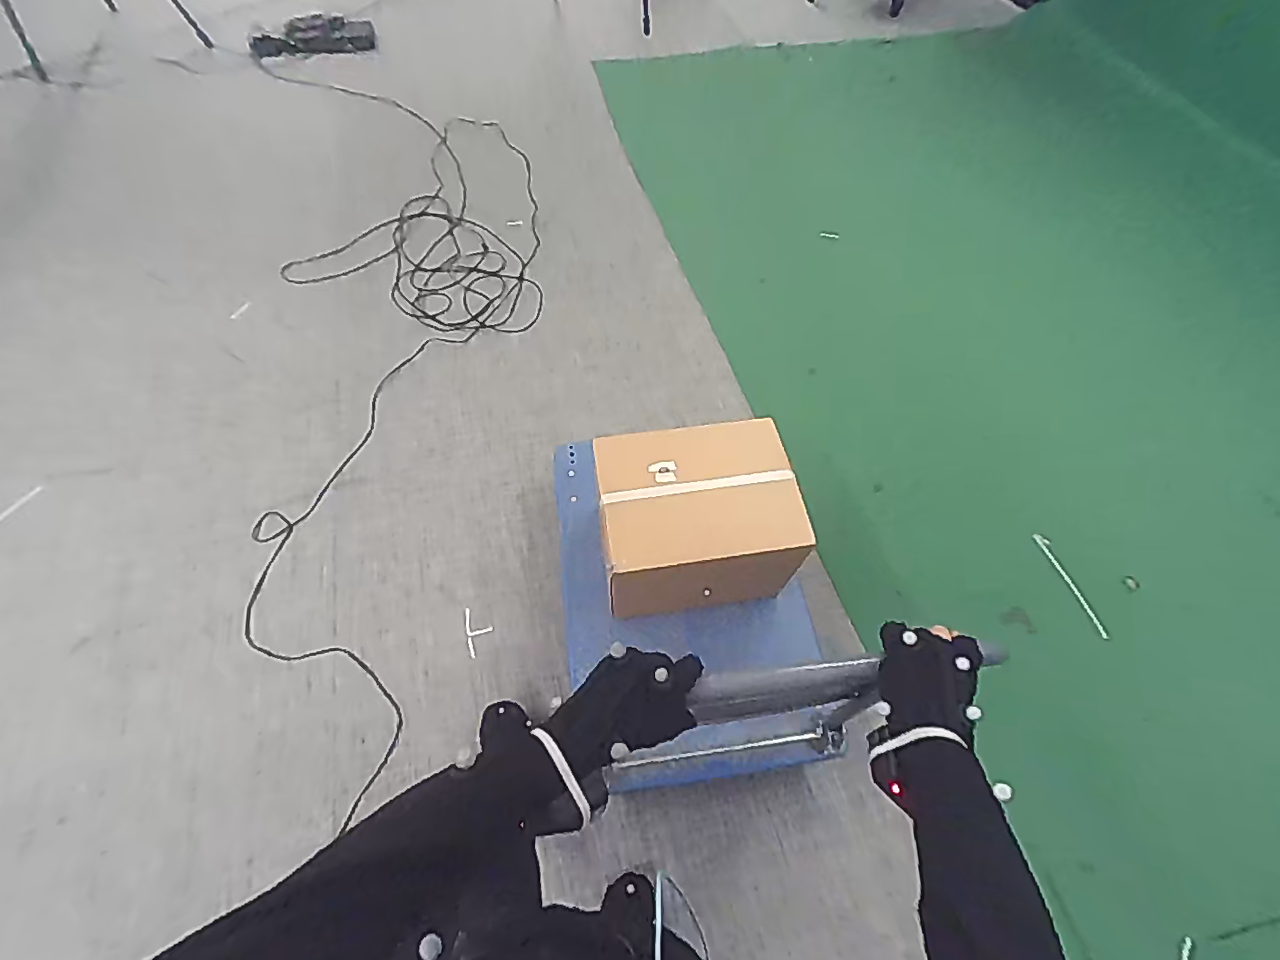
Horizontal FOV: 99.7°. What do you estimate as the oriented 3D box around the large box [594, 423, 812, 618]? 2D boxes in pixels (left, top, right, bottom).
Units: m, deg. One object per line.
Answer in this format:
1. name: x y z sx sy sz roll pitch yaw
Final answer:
1. large box: 0.119 0.103 1.244 0.408 0.320 0.320 -8 60 -5
